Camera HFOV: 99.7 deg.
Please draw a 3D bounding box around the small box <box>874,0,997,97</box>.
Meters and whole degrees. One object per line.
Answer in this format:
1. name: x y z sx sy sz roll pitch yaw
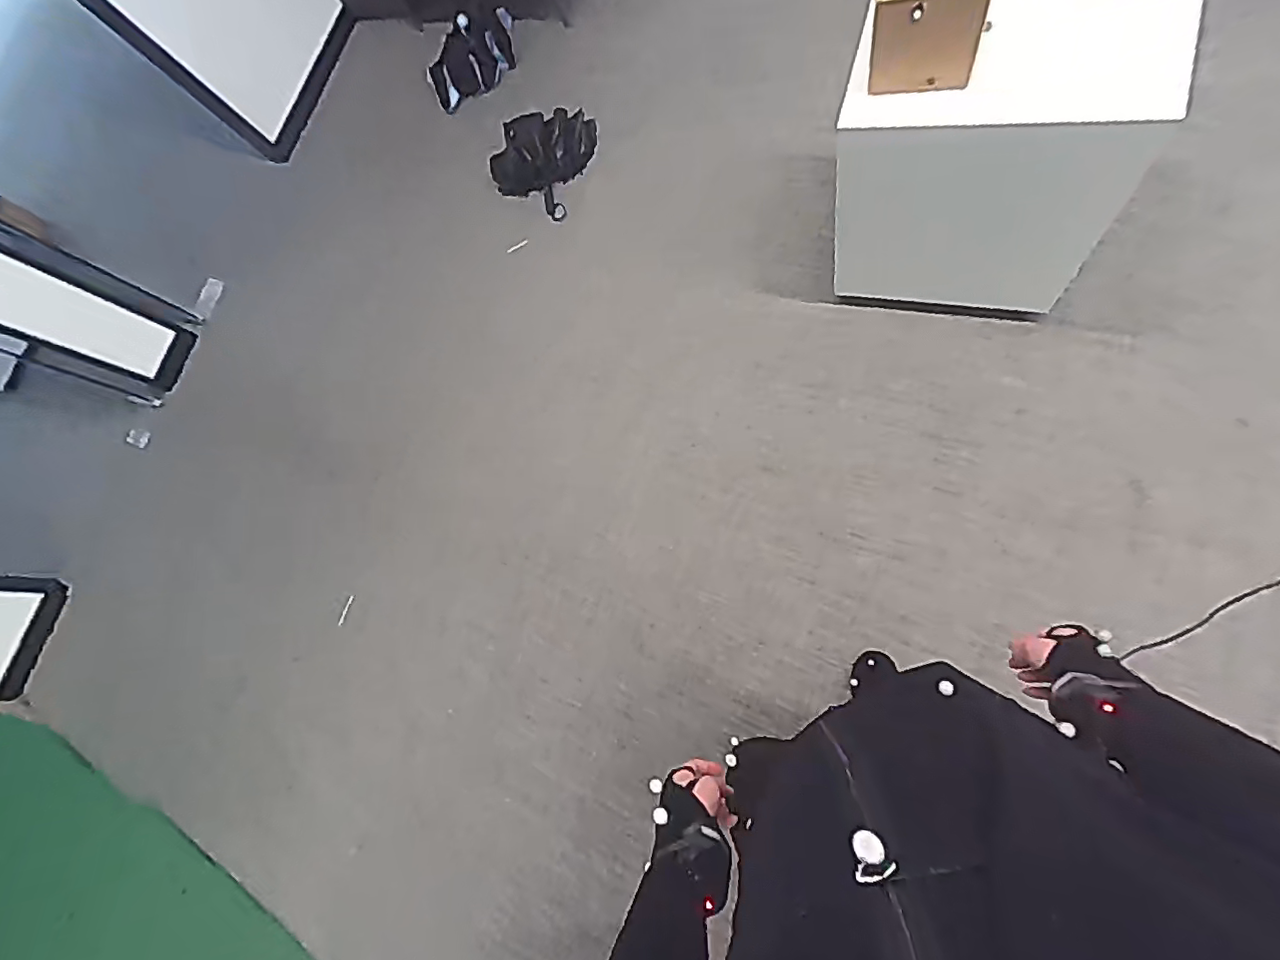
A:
1. small box: 0.496 -0.786 0.903 0.168 0.176 0.179 12 79 22
